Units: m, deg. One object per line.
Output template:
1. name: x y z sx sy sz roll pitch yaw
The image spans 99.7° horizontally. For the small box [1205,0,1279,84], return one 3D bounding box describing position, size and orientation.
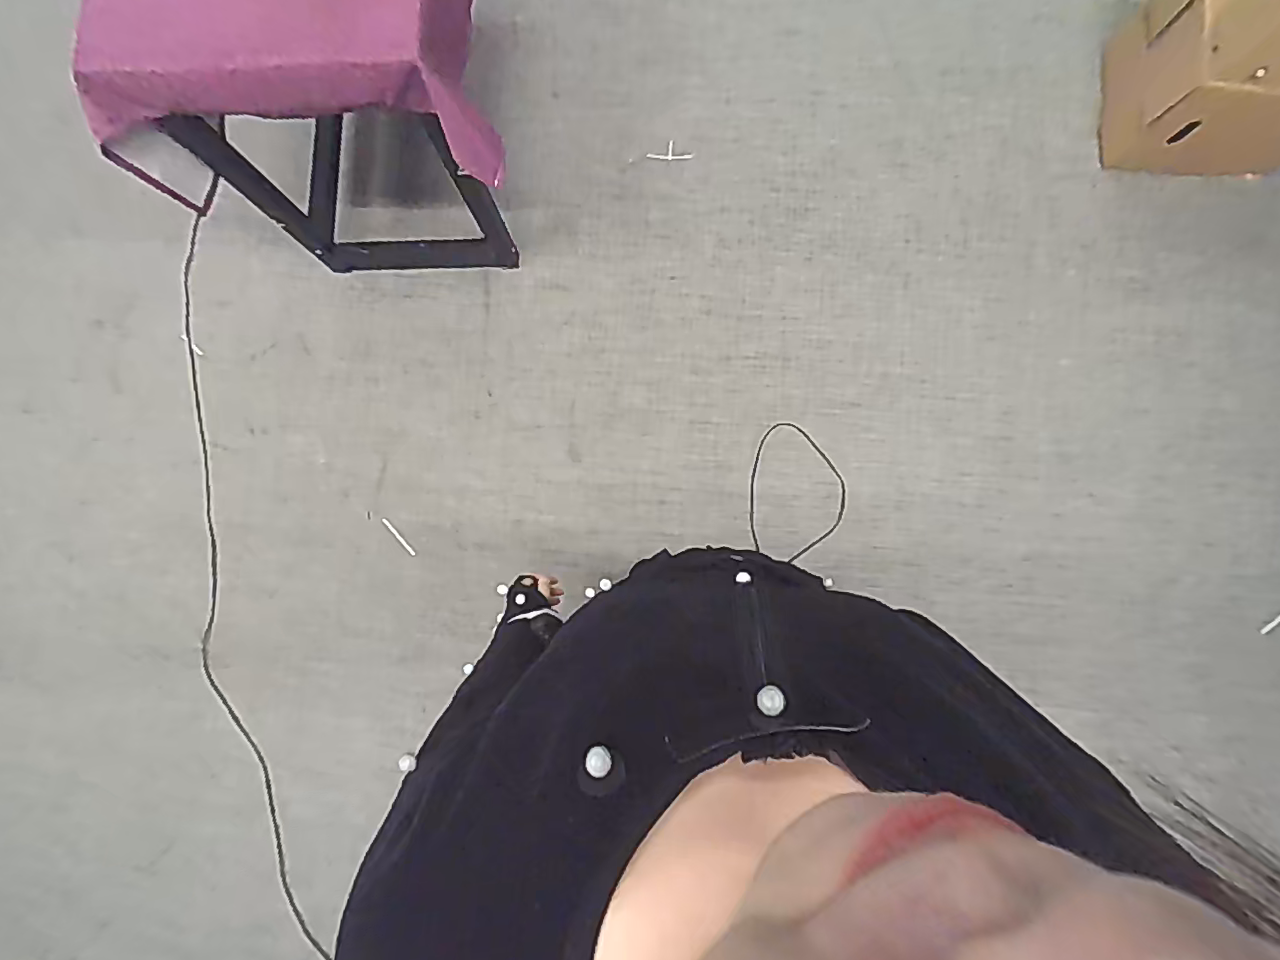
1. small box: 1.464 -1.049 1.232 0.179 0.176 0.168 9 83 1
